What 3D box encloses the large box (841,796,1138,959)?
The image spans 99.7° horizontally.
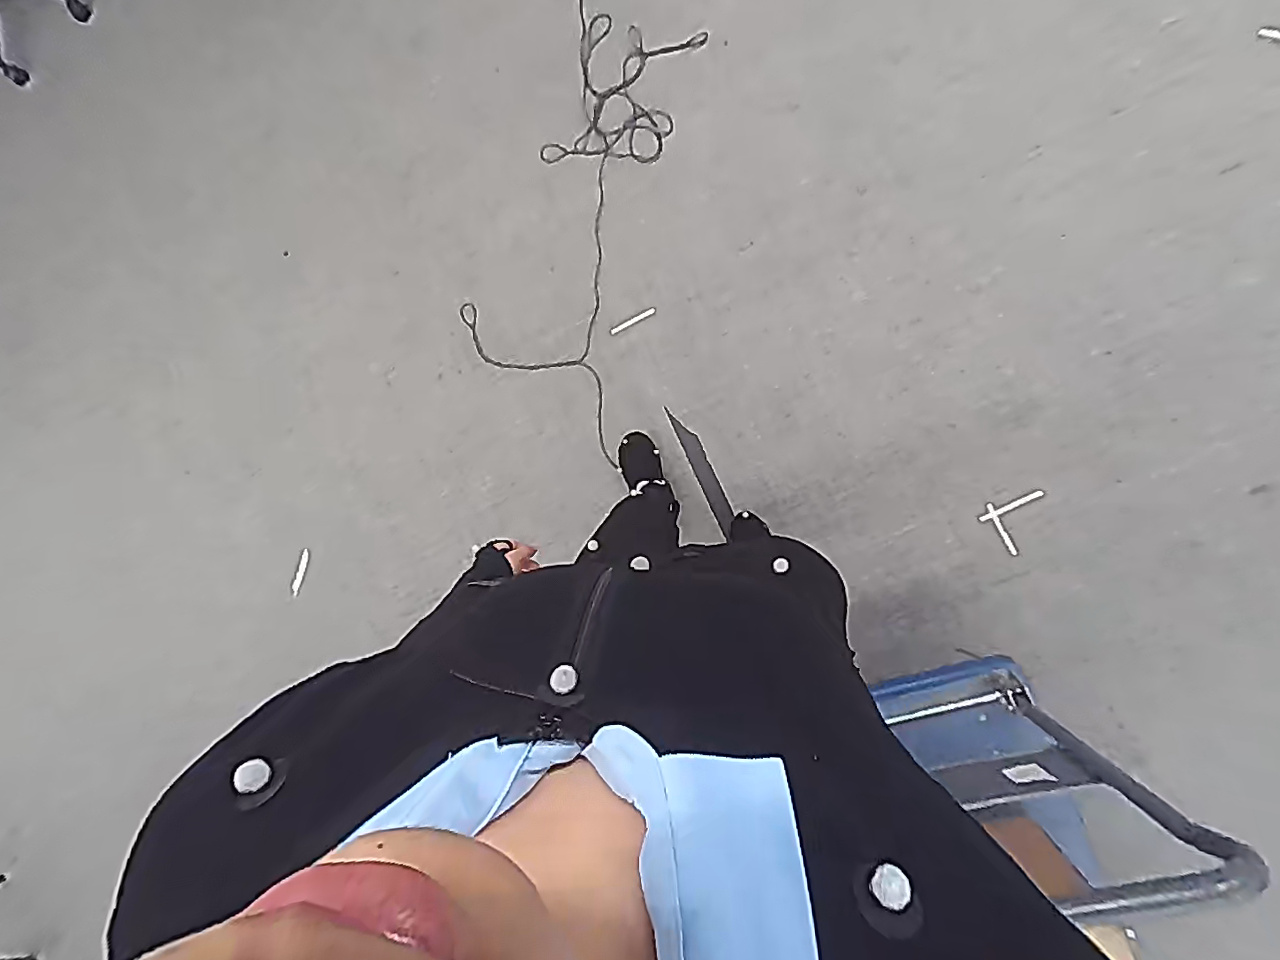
[{"bbox_3d":[0.662,0.884,1.052,0.408,0.320,0.320,-19,86,10],"label":"large box"}]
